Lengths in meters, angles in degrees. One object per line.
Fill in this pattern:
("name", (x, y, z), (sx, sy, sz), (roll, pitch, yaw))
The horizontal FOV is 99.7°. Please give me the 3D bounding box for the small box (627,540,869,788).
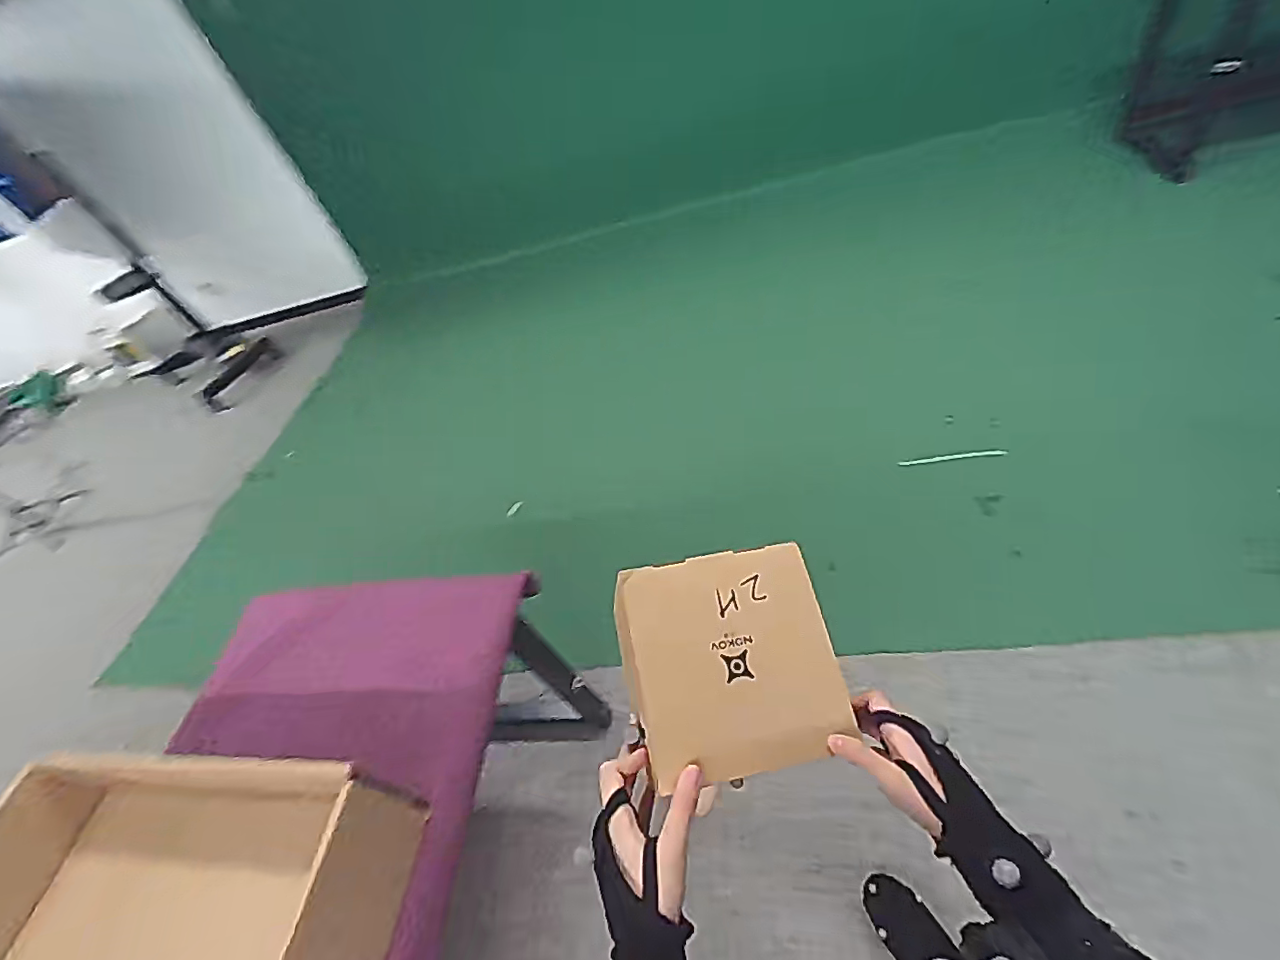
("small box", (0.081, 0.174, 0.514), (0.168, 0.176, 0.179), (-7, 65, -7))
